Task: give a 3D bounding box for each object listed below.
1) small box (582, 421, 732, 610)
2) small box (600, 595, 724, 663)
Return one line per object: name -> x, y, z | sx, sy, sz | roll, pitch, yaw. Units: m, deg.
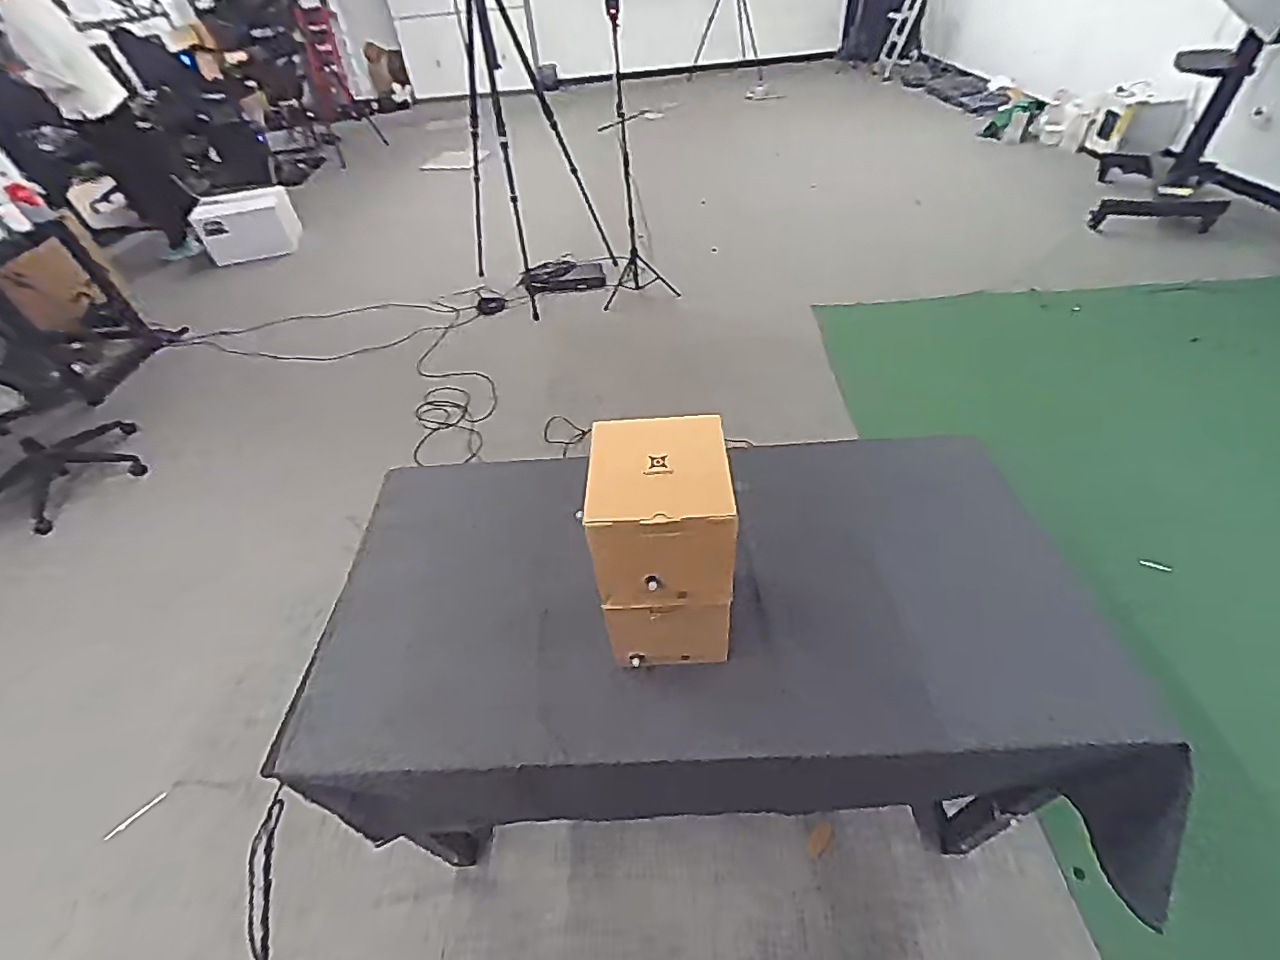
small box -> 0.023, 0.046, 0.697 | 0.168, 0.176, 0.179 | -4, 45, 3
small box -> 0.035, 0.160, 0.811 | 0.168, 0.176, 0.179 | -4, 44, 2
